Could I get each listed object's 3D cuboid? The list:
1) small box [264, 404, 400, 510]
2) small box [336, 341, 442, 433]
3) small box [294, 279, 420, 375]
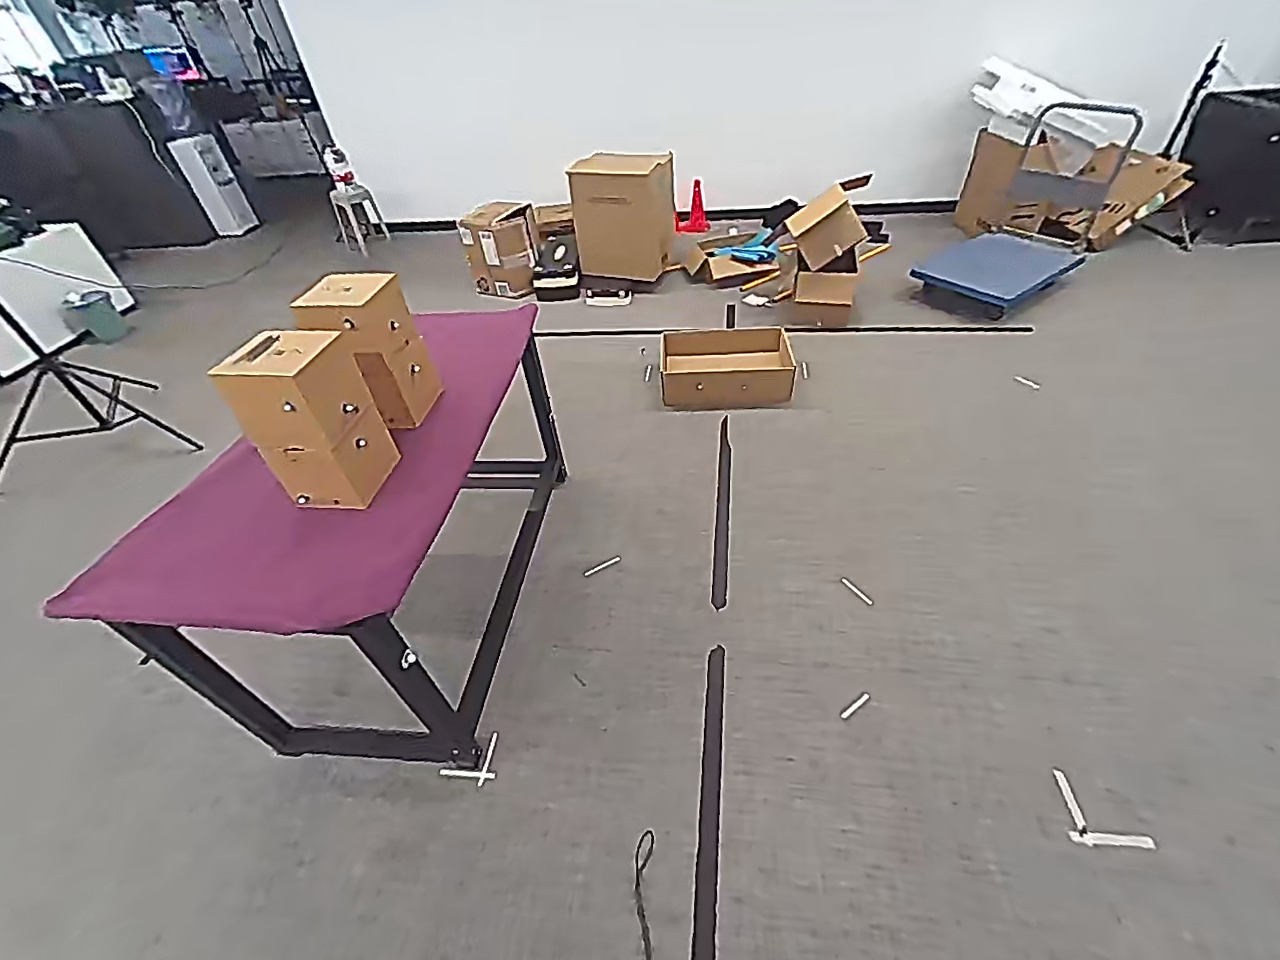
[{"bbox_3d":[-0.658,-0.050,1.183,0.168,0.176,0.179,2,42,8],"label":"small box"},{"bbox_3d":[-0.632,-0.242,1.393,0.168,0.176,0.179,2,43,8],"label":"small box"},{"bbox_3d":[-0.654,-0.359,1.278,0.179,0.176,0.168,2,43,9],"label":"small box"}]
